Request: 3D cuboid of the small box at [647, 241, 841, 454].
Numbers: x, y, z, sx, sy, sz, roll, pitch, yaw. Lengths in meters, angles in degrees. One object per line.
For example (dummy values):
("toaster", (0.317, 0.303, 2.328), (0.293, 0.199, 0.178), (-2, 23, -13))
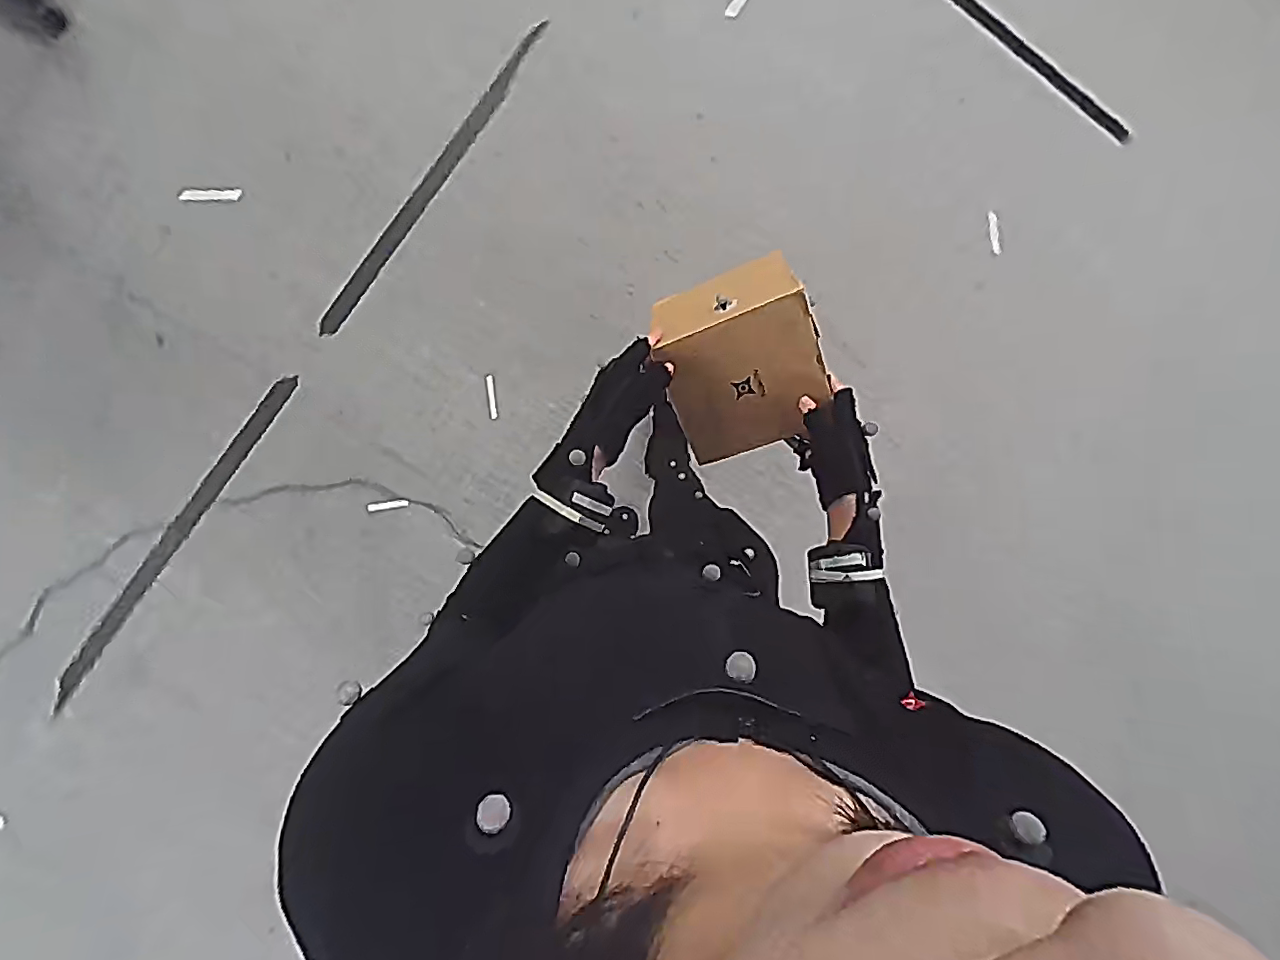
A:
("small box", (0.120, -0.166, 0.659), (0.179, 0.176, 0.168), (-20, 121, 17))
